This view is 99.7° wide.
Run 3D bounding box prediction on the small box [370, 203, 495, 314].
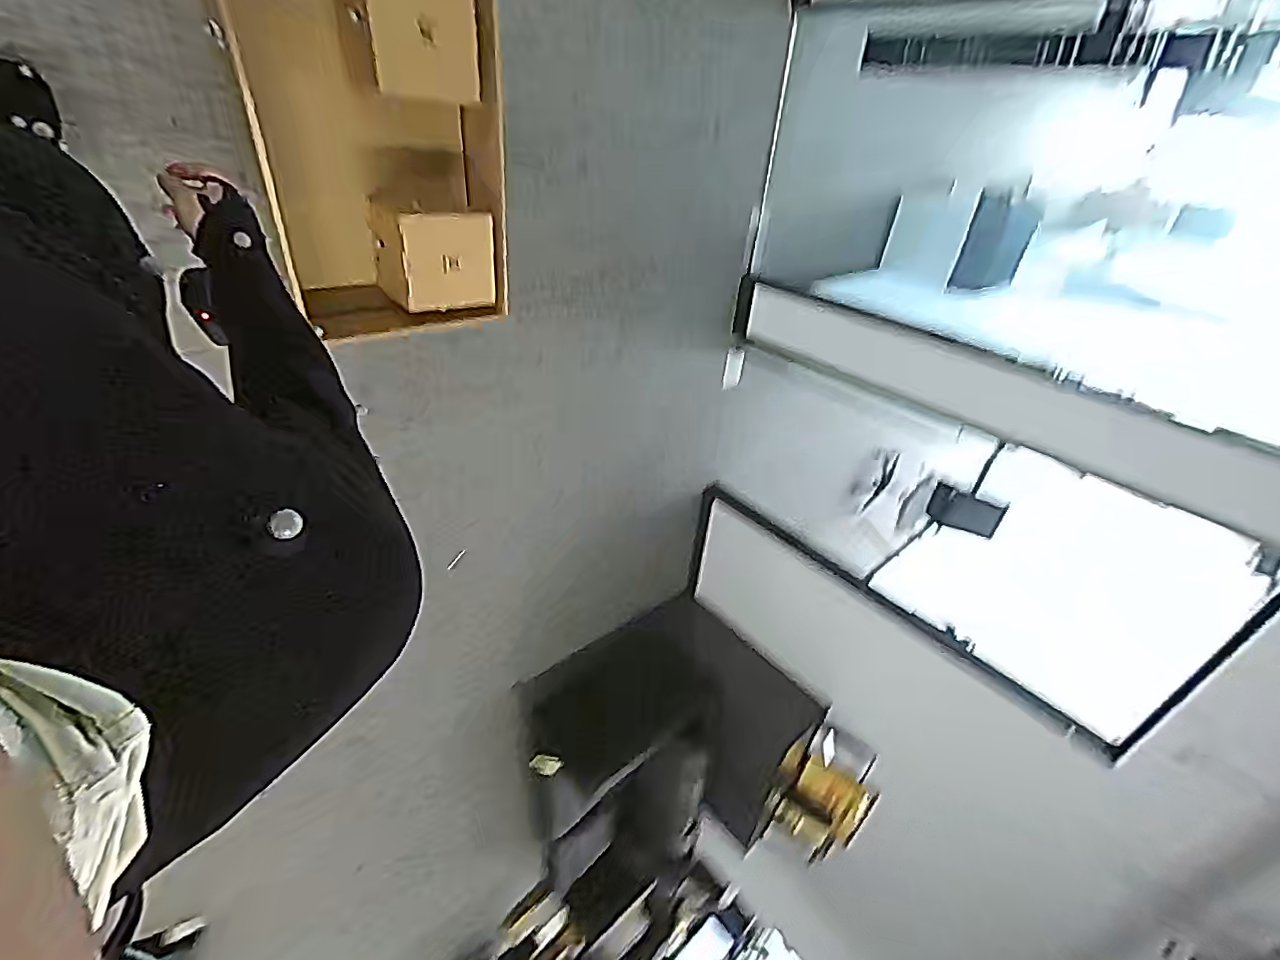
[{"bbox_3d":[-0.405,-0.439,1.064,0.179,0.176,0.168,-19,132,-36],"label":"small box"}]
